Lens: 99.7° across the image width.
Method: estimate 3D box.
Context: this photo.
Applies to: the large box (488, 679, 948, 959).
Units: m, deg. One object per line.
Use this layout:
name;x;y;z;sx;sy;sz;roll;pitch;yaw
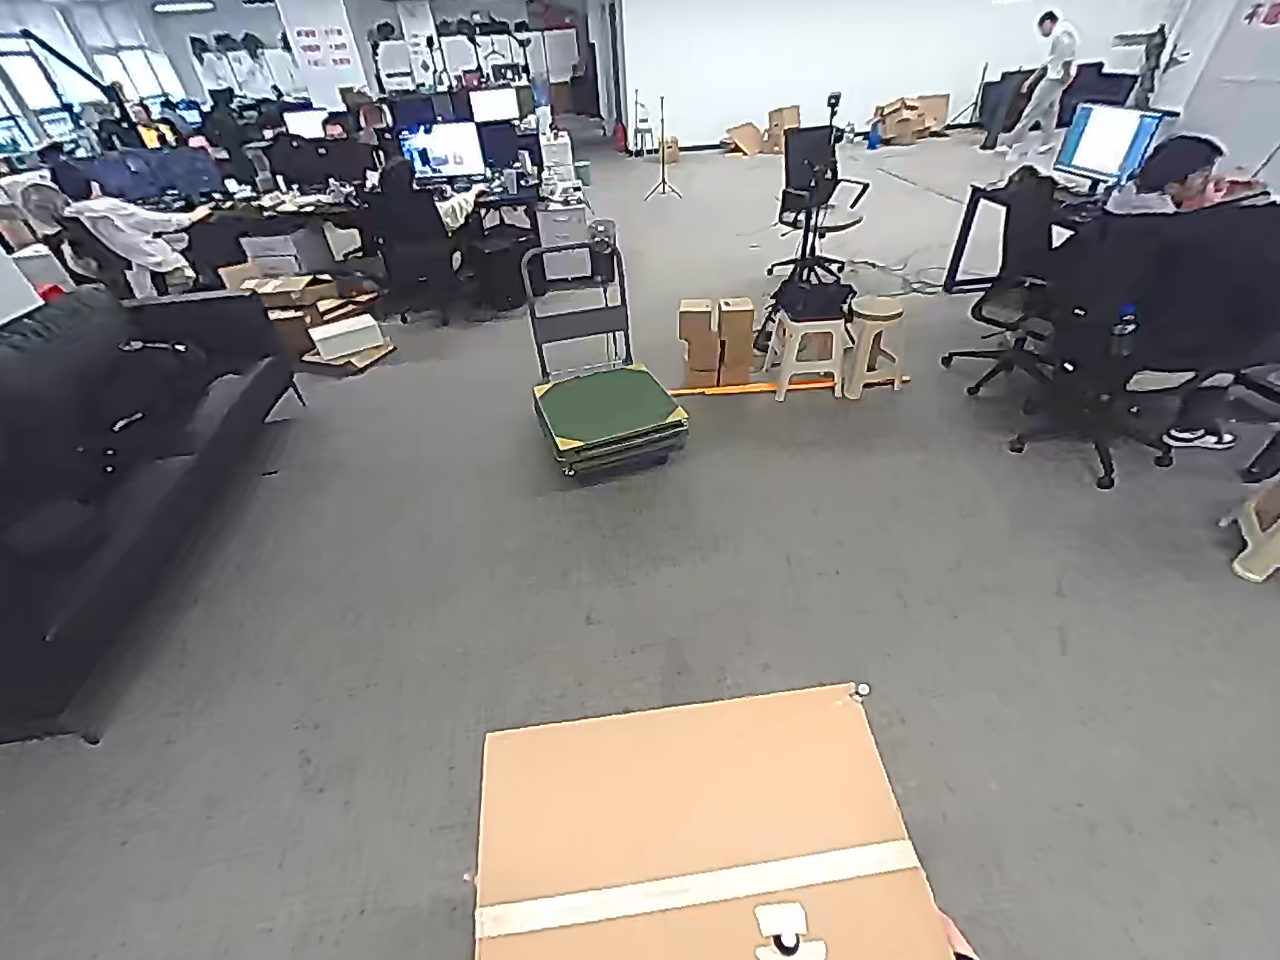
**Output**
large box;0.060;0.459;0.622;0.408;0.320;0.320;-7;54;-4
